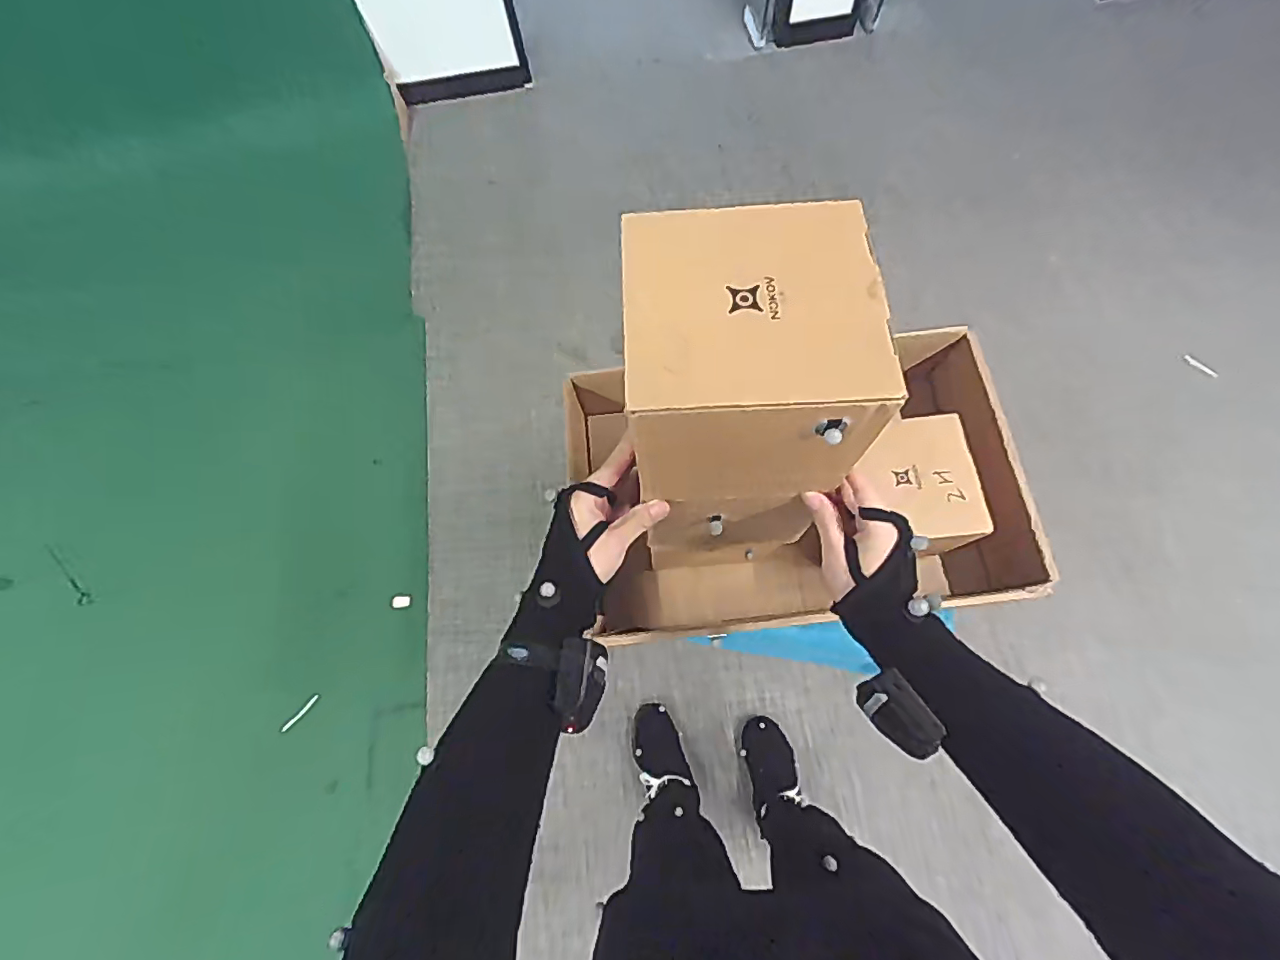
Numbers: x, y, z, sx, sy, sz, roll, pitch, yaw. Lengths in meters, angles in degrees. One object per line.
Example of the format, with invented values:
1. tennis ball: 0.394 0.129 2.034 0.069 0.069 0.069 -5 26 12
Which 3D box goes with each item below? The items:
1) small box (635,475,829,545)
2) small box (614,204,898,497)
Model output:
1. small box: 0.088 -0.029 0.589 0.179 0.176 0.168 -3 68 3
2. small box: 0.075 -0.090 0.439 0.179 0.176 0.168 -3 68 1
